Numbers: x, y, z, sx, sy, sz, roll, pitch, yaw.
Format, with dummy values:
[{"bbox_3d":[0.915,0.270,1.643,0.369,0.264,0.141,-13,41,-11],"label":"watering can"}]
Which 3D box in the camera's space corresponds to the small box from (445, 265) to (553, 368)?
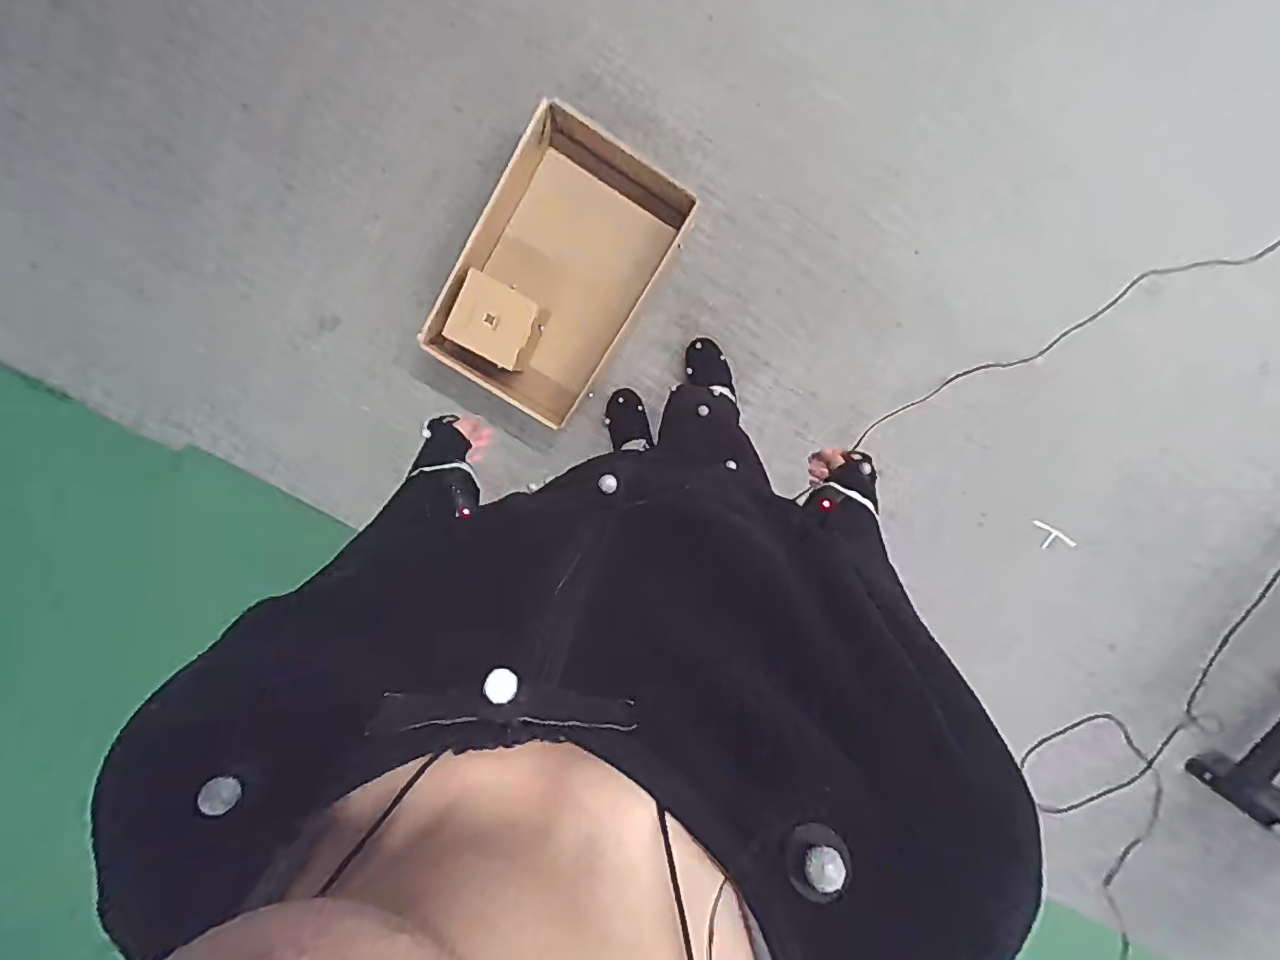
[{"bbox_3d":[-0.324,-0.384,1.286,0.179,0.176,0.168,29,101,-6],"label":"small box"}]
